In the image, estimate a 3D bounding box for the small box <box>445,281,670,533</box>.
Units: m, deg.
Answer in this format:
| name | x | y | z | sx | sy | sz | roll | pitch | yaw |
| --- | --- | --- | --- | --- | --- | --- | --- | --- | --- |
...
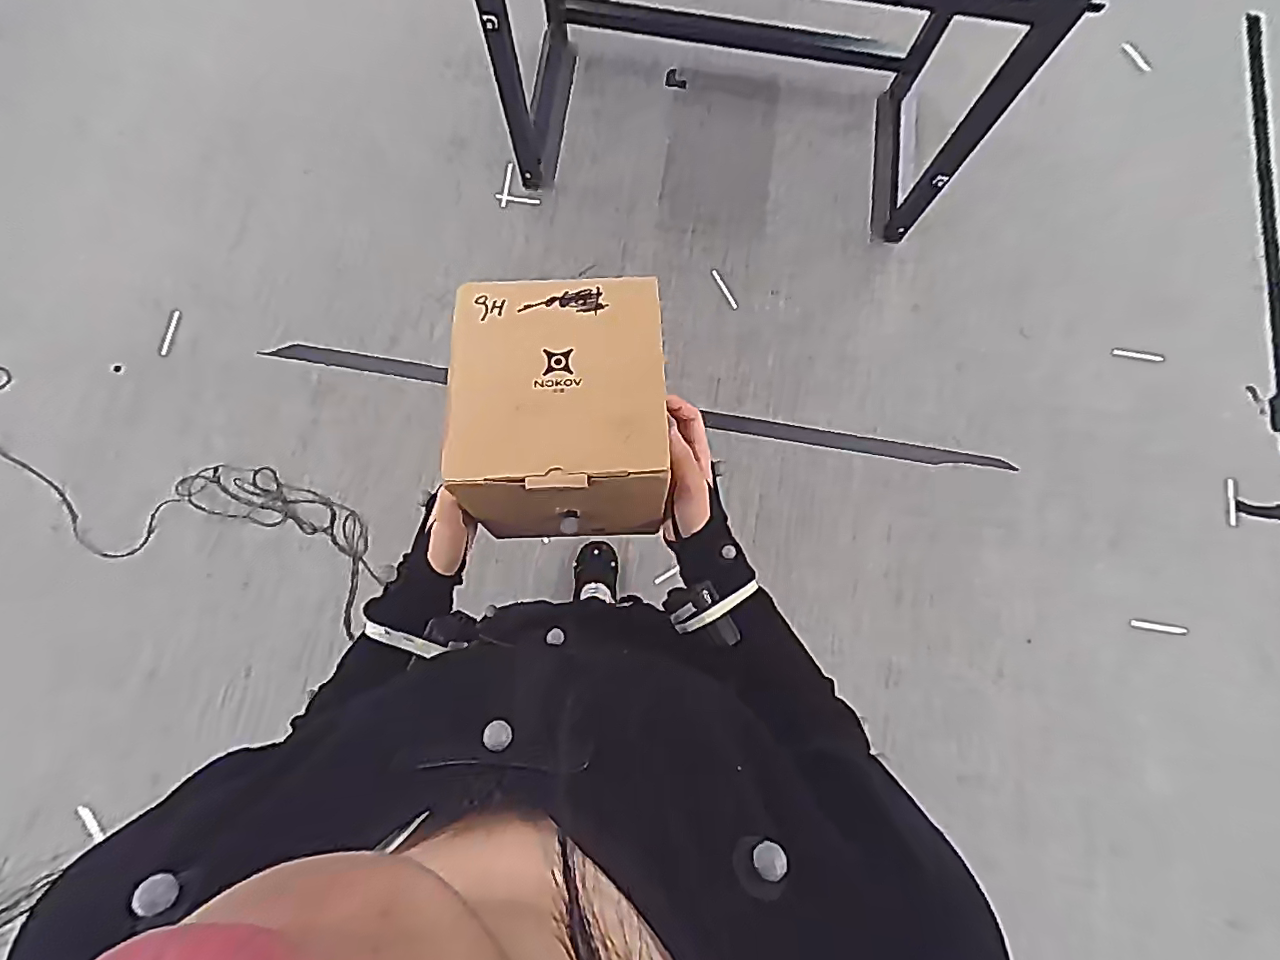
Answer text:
| name | x | y | z | sx | sy | sz | roll | pitch | yaw |
| --- | --- | --- | --- | --- | --- | --- | --- | --- | --- |
| small box | -0.061 | -0.052 | 0.487 | 0.168 | 0.176 | 0.179 | -2 | 71 | -2 |
